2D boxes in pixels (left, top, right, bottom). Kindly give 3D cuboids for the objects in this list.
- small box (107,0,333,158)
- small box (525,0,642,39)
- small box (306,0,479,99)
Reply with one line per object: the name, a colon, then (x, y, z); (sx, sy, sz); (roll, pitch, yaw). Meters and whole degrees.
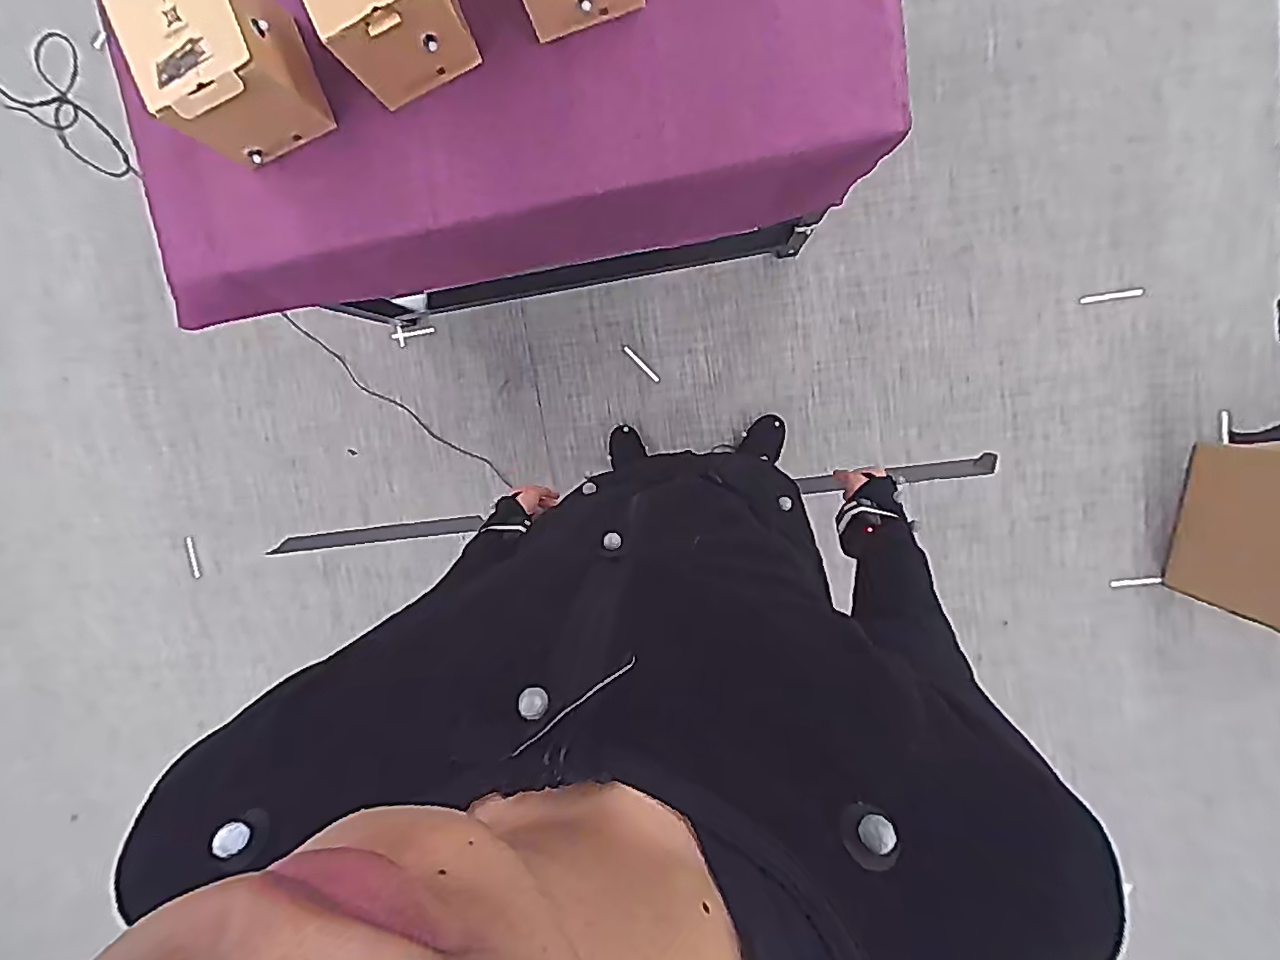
small box: (-0.589, -0.602, 0.782); (0.168, 0.176, 0.179); (-20, 95, 7)
small box: (-0.098, -0.748, 0.714); (0.168, 0.176, 0.179); (-13, 97, 8)
small box: (-0.351, -0.676, 0.751); (0.168, 0.176, 0.179); (-21, 95, 7)
